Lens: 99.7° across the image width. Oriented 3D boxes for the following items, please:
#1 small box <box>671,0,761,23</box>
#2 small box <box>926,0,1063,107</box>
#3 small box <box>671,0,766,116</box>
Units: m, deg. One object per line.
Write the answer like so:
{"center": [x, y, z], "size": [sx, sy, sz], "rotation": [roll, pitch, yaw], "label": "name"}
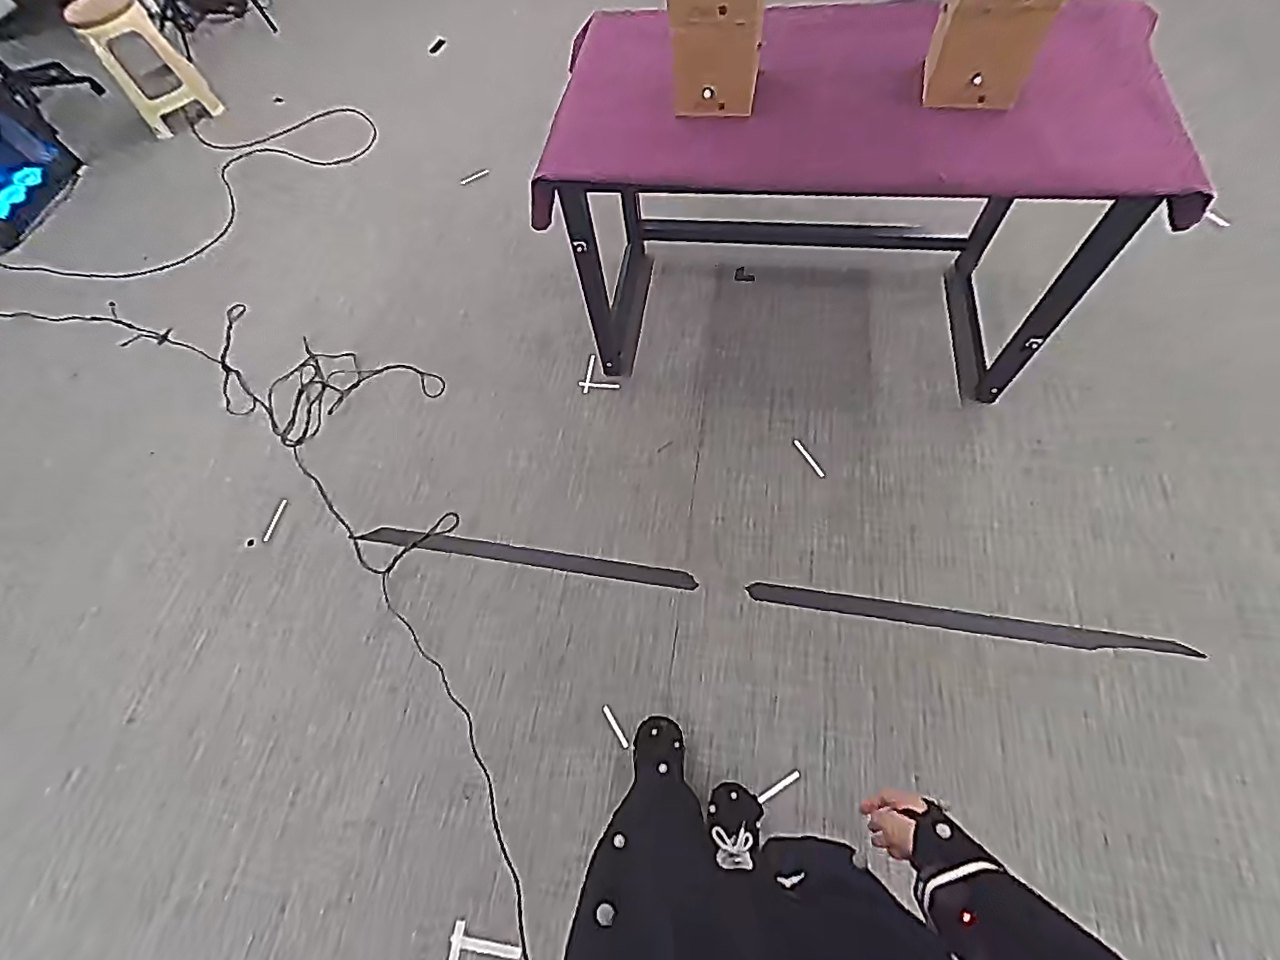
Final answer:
{"center": [0.142, -0.952, 0.954], "size": [0.168, 0.176, 0.179], "rotation": [8, 65, 11], "label": "small box"}
{"center": [0.662, -0.850, 1.028], "size": [0.168, 0.176, 0.179], "rotation": [11, 66, 13], "label": "small box"}
{"center": [0.160, -0.881, 1.101], "size": [0.168, 0.176, 0.179], "rotation": [8, 66, 10], "label": "small box"}
